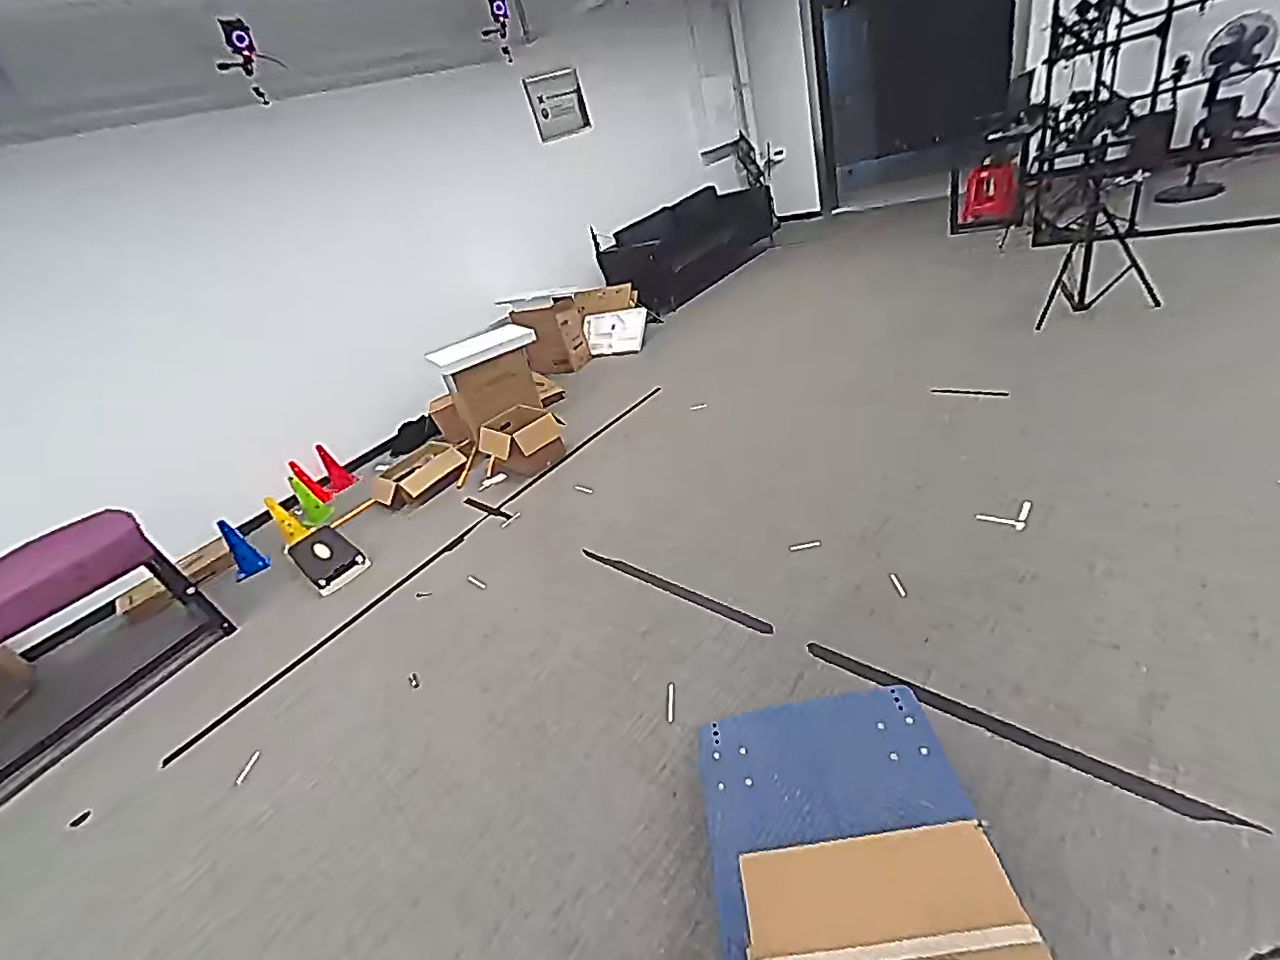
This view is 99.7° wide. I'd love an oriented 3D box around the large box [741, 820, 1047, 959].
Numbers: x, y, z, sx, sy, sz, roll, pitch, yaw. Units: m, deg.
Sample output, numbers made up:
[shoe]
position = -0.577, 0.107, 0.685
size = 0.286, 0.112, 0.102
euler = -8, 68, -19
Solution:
[large box]
position = 0.407, 0.817, 0.868
size = 0.408, 0.320, 0.320
euler = -14, 31, 7
